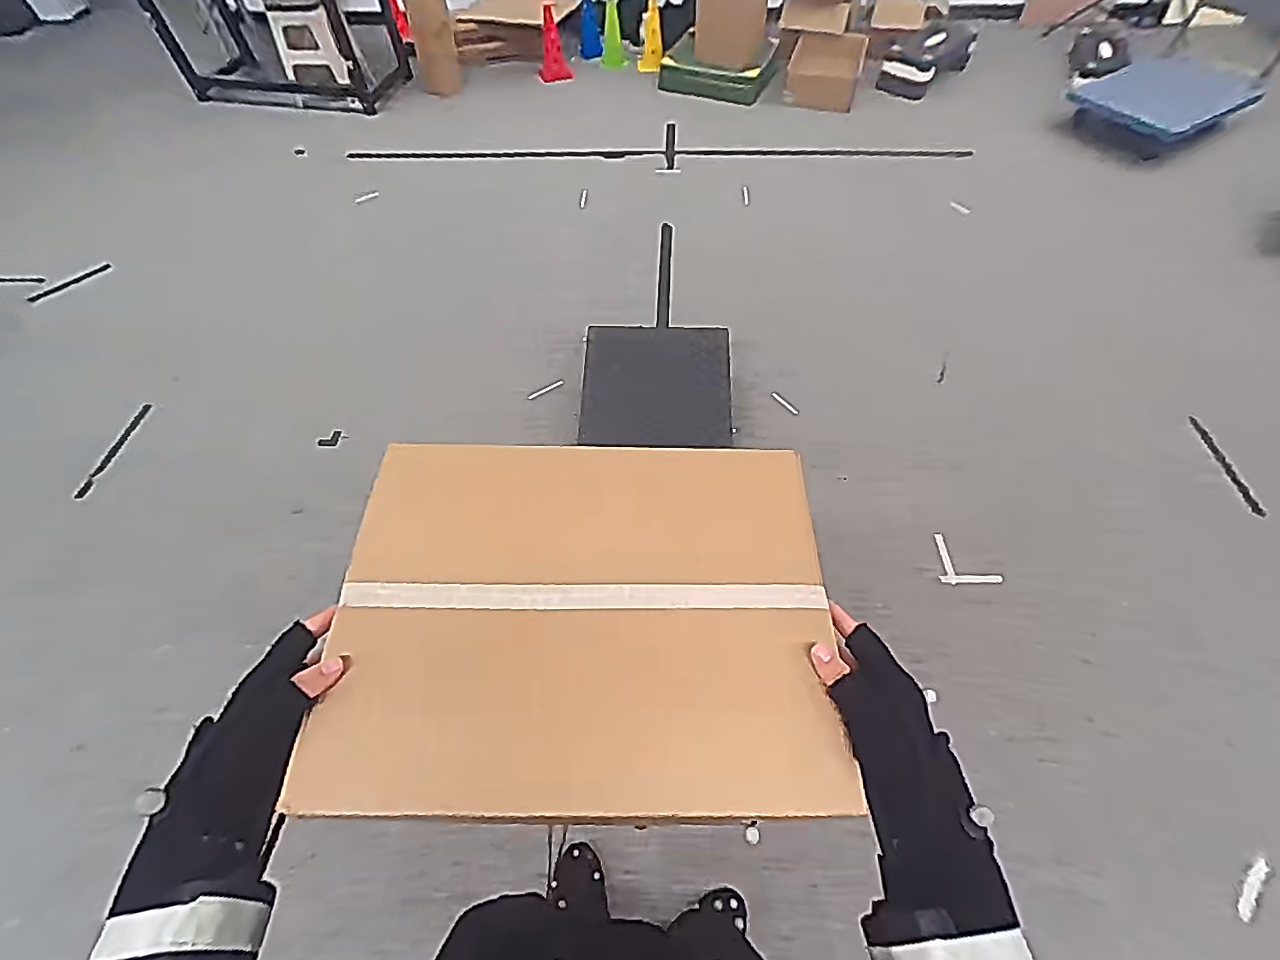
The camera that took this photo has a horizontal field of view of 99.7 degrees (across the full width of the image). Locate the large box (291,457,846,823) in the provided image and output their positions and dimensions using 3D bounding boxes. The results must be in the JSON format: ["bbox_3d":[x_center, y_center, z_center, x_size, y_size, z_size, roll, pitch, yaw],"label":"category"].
[{"bbox_3d":[-0.052,0.187,0.588,0.408,0.320,0.320,1,57,-2],"label":"large box"}]
